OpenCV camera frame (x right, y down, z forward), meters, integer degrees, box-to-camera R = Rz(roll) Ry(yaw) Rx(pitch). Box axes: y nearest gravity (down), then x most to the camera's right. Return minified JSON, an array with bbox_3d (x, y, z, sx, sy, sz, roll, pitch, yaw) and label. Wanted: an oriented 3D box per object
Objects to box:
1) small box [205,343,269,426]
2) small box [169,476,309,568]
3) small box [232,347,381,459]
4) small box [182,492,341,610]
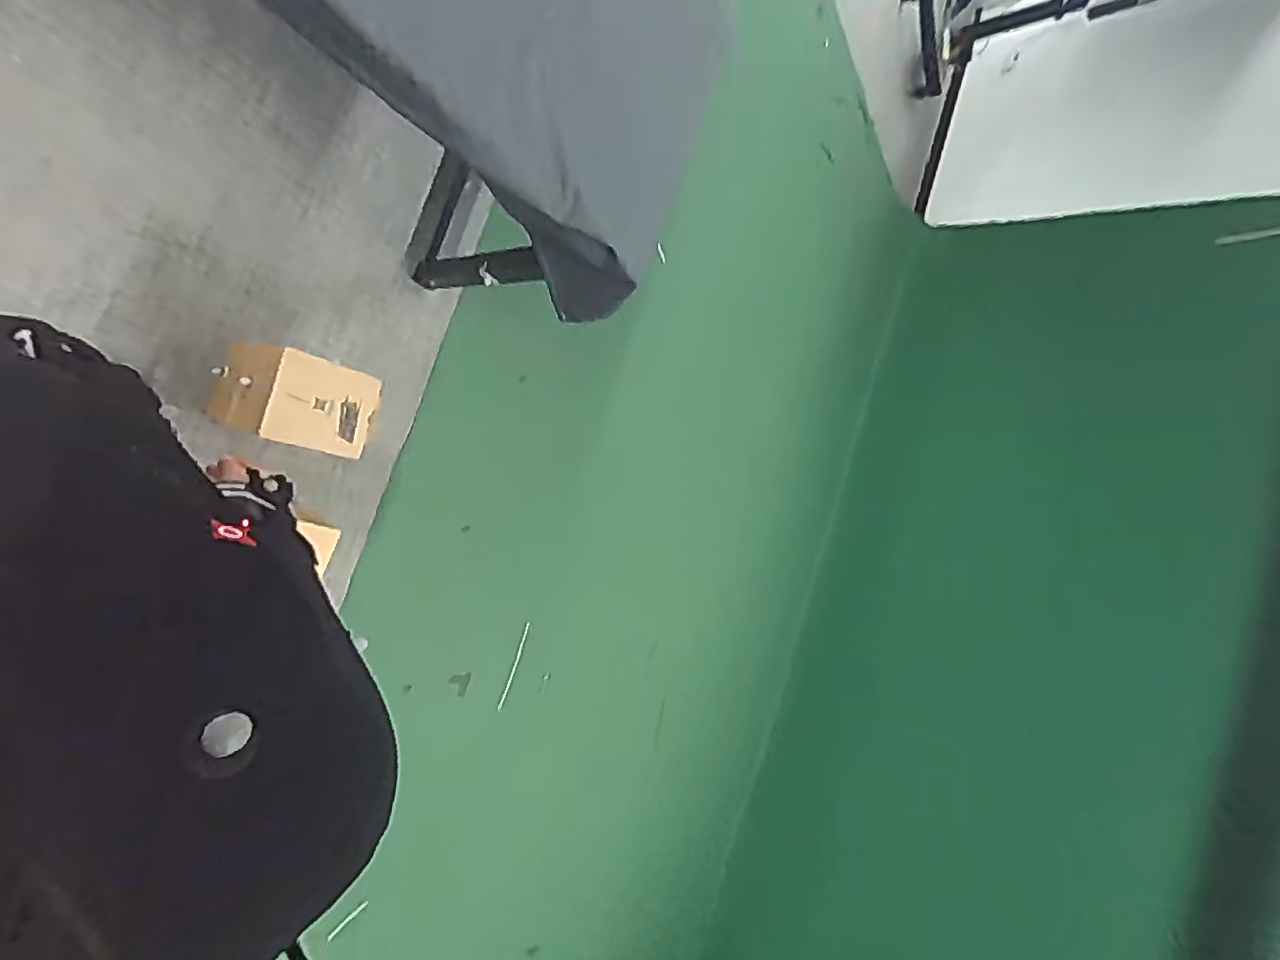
[{"bbox_3d":[-0.766,-0.180,1.132,0.179,0.176,0.168,20,85,-50],"label":"small box"},{"bbox_3d":[-0.839,0.098,1.126,0.179,0.176,0.168,26,82,-49],"label":"small box"},{"bbox_3d":[-0.638,-0.149,1.034,0.179,0.176,0.168,18,86,-50],"label":"small box"},{"bbox_3d":[-0.716,0.132,1.024,0.179,0.176,0.168,28,79,-50],"label":"small box"}]
